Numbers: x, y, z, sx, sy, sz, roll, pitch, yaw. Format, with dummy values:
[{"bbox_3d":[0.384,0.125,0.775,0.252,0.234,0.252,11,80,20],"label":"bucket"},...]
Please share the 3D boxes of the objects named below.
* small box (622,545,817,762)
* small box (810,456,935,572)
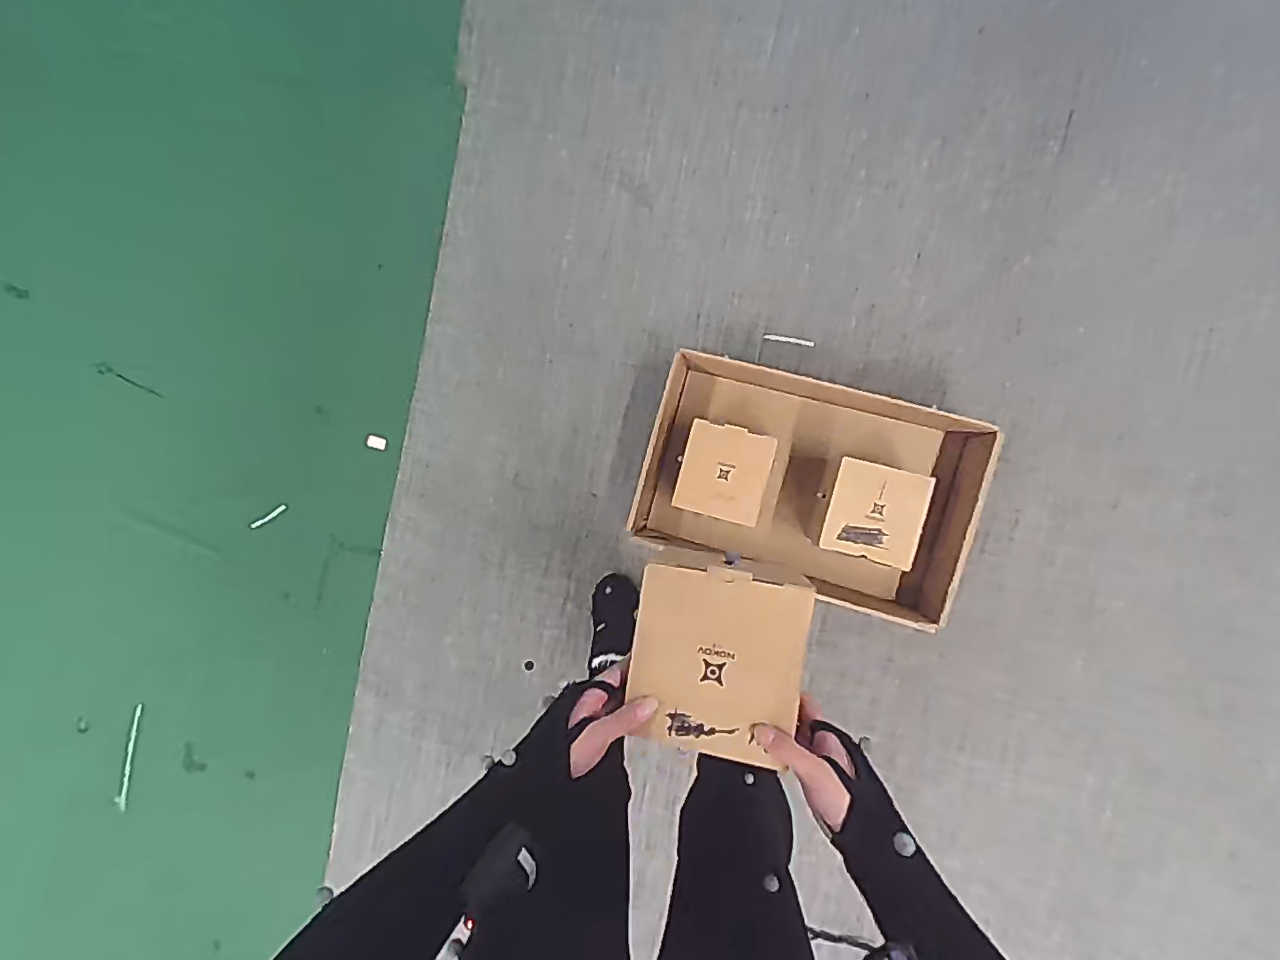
[{"bbox_3d":[0.087,0.171,0.598,0.168,0.176,0.179,9,88,10],"label":"small box"},{"bbox_3d":[0.436,0.061,1.045,0.168,0.176,0.179,15,91,10],"label":"small box"}]
